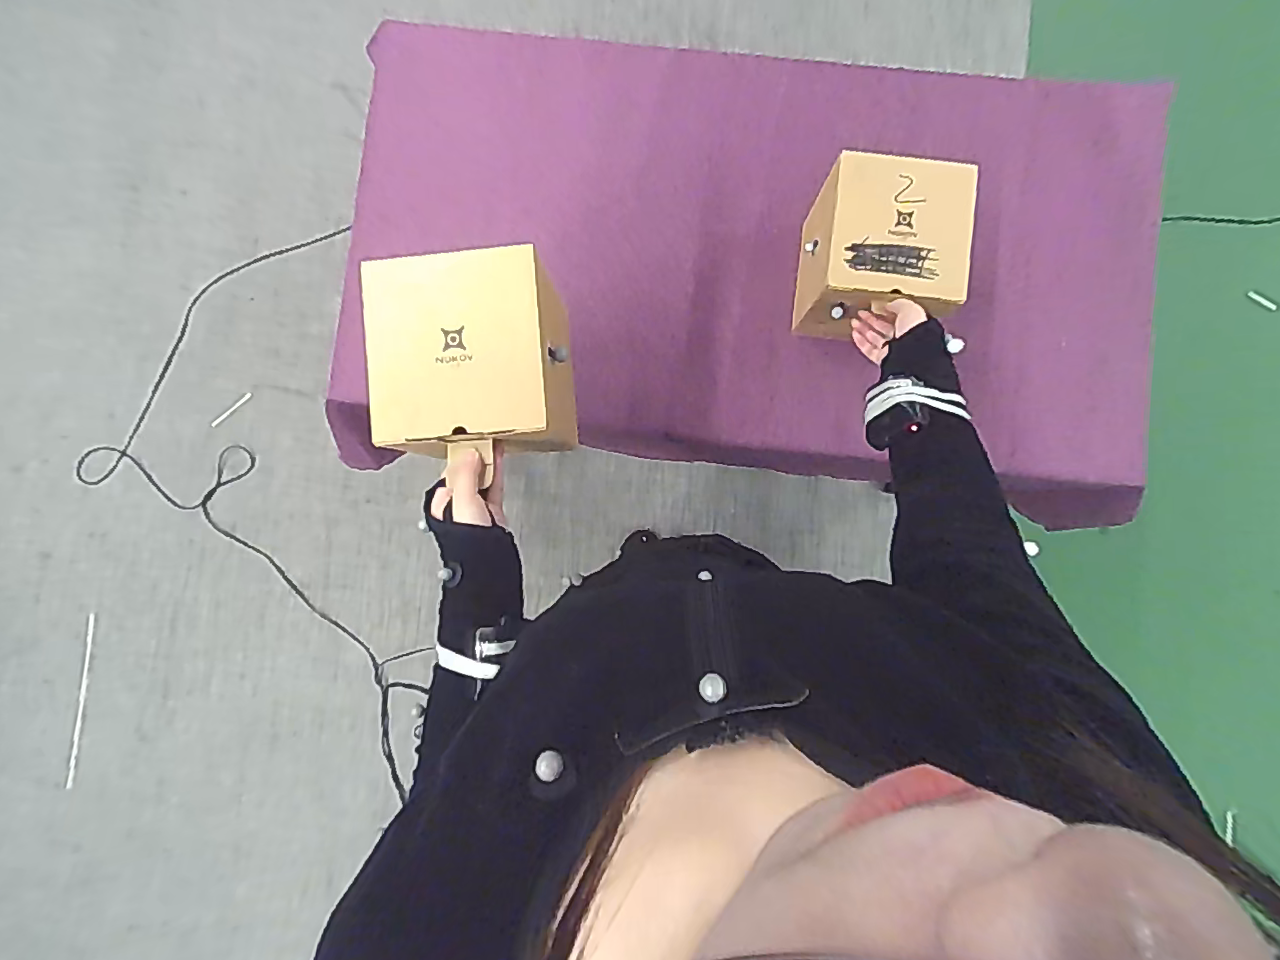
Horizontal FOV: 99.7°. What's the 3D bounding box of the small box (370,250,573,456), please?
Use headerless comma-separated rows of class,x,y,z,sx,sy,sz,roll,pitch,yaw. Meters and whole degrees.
small box,-0.171,-0.125,0.595,0.168,0.176,0.179,-5,88,2
